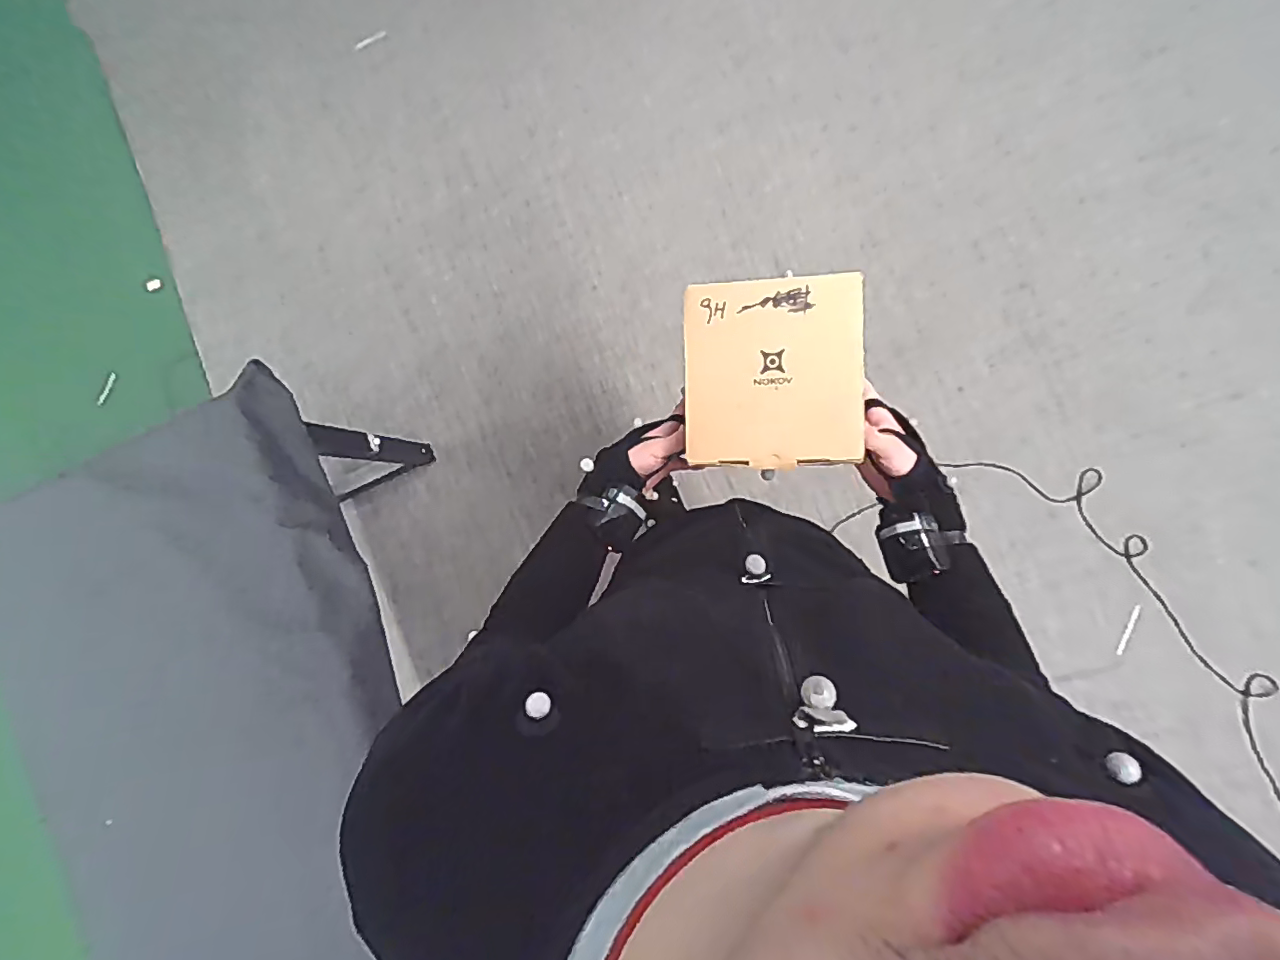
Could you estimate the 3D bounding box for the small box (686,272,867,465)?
[{"bbox_3d":[0.139,-0.106,0.584,0.168,0.176,0.179,0,92,9],"label":"small box"}]
